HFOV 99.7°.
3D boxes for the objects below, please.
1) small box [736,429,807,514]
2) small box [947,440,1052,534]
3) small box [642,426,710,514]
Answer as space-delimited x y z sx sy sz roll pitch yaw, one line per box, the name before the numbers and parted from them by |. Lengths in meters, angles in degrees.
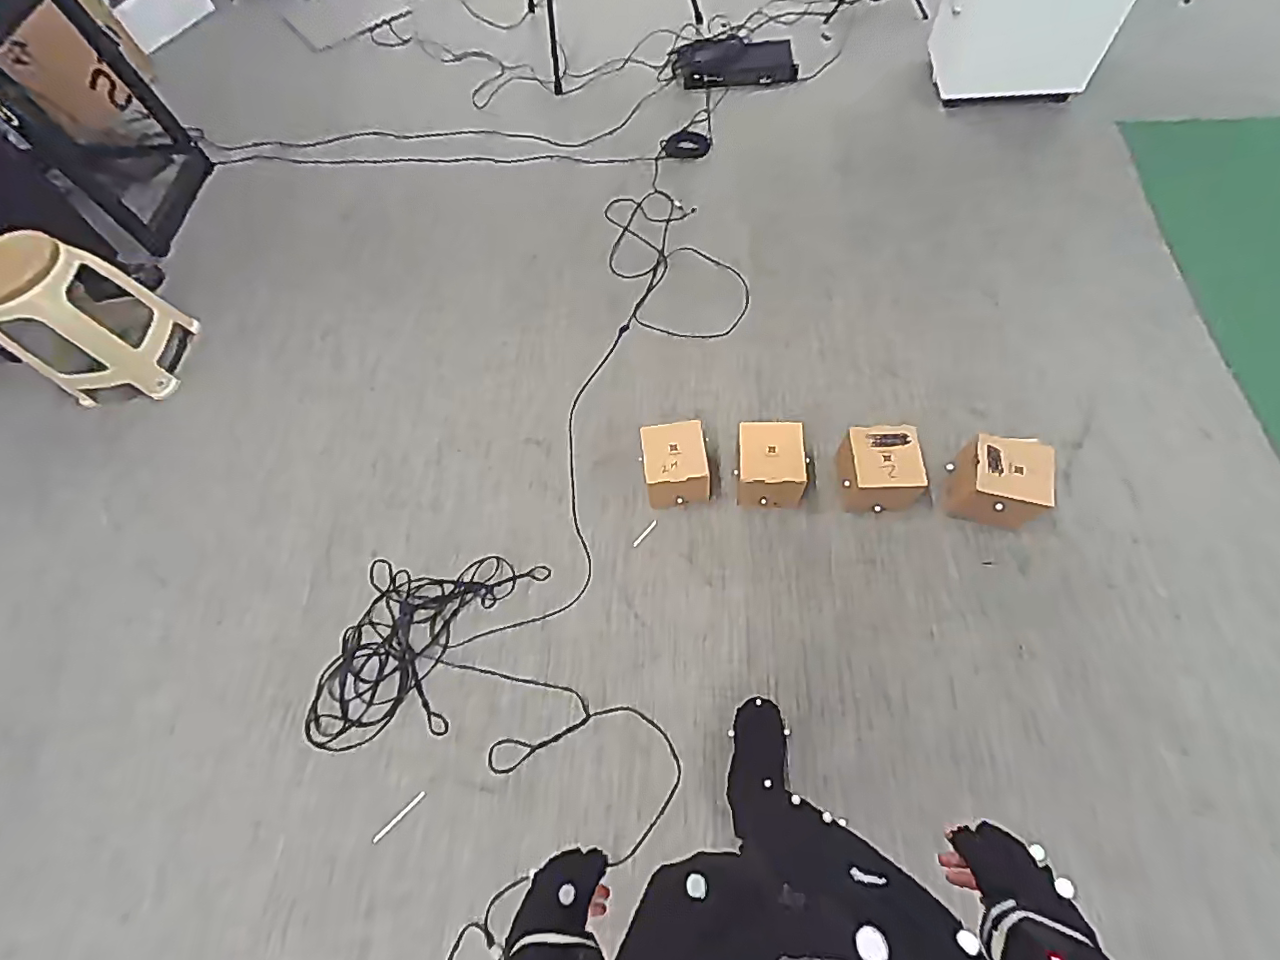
small box | 0.350 -0.021 1.471 0.168 0.176 0.179 0 64 6
small box | 0.912 0.024 1.385 0.179 0.176 0.168 14 66 11
small box | 0.100 -0.024 1.498 0.168 0.176 0.179 -8 63 4
